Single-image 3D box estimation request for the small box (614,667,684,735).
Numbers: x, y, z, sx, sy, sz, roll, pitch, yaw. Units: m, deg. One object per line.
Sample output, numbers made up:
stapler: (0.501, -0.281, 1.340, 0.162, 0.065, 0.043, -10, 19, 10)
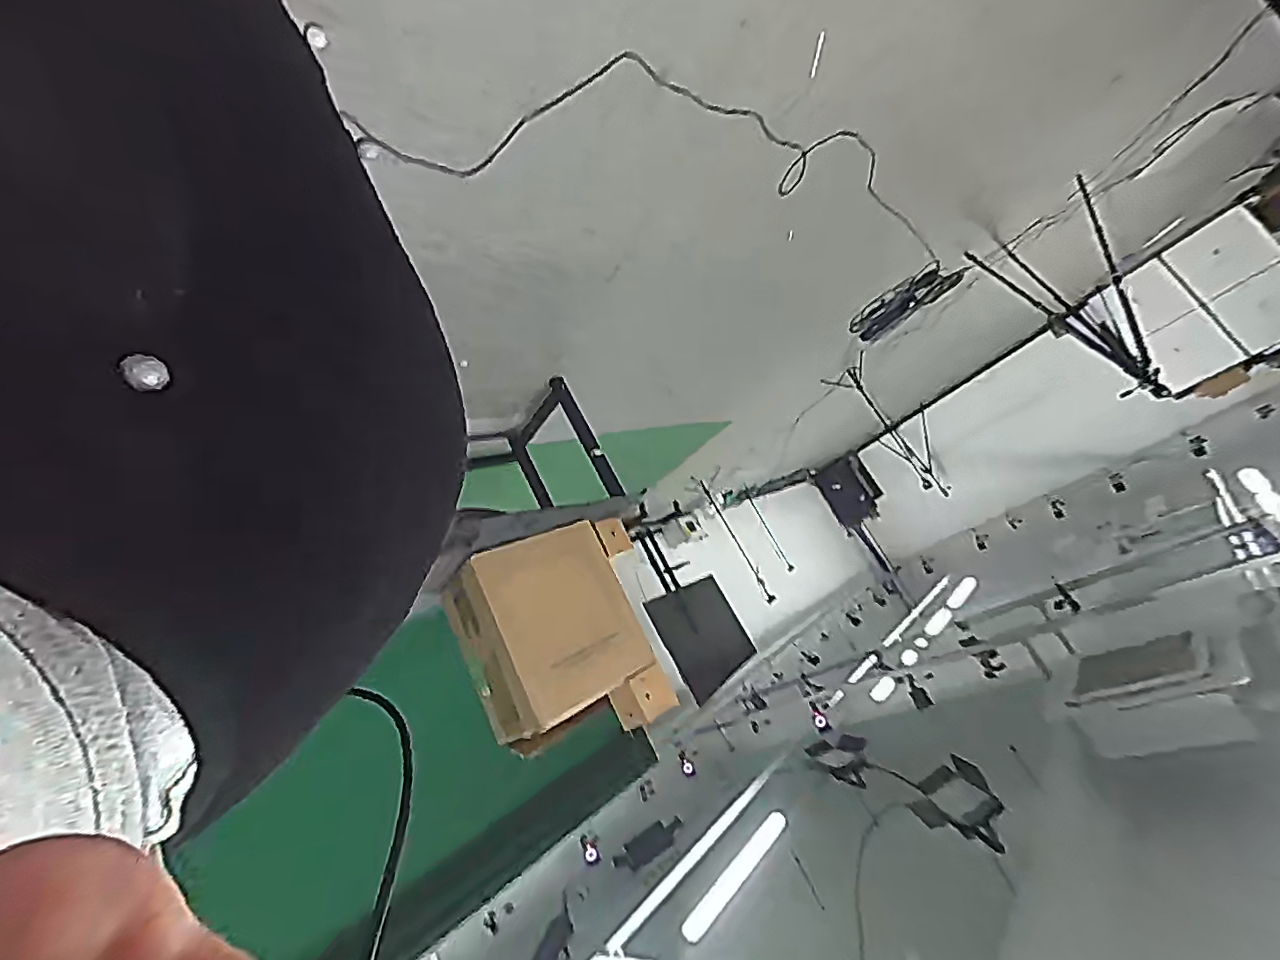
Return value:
small box: (0.028, 0.833, 2.051, 0.168, 0.176, 0.179, -16, 161, -42)
